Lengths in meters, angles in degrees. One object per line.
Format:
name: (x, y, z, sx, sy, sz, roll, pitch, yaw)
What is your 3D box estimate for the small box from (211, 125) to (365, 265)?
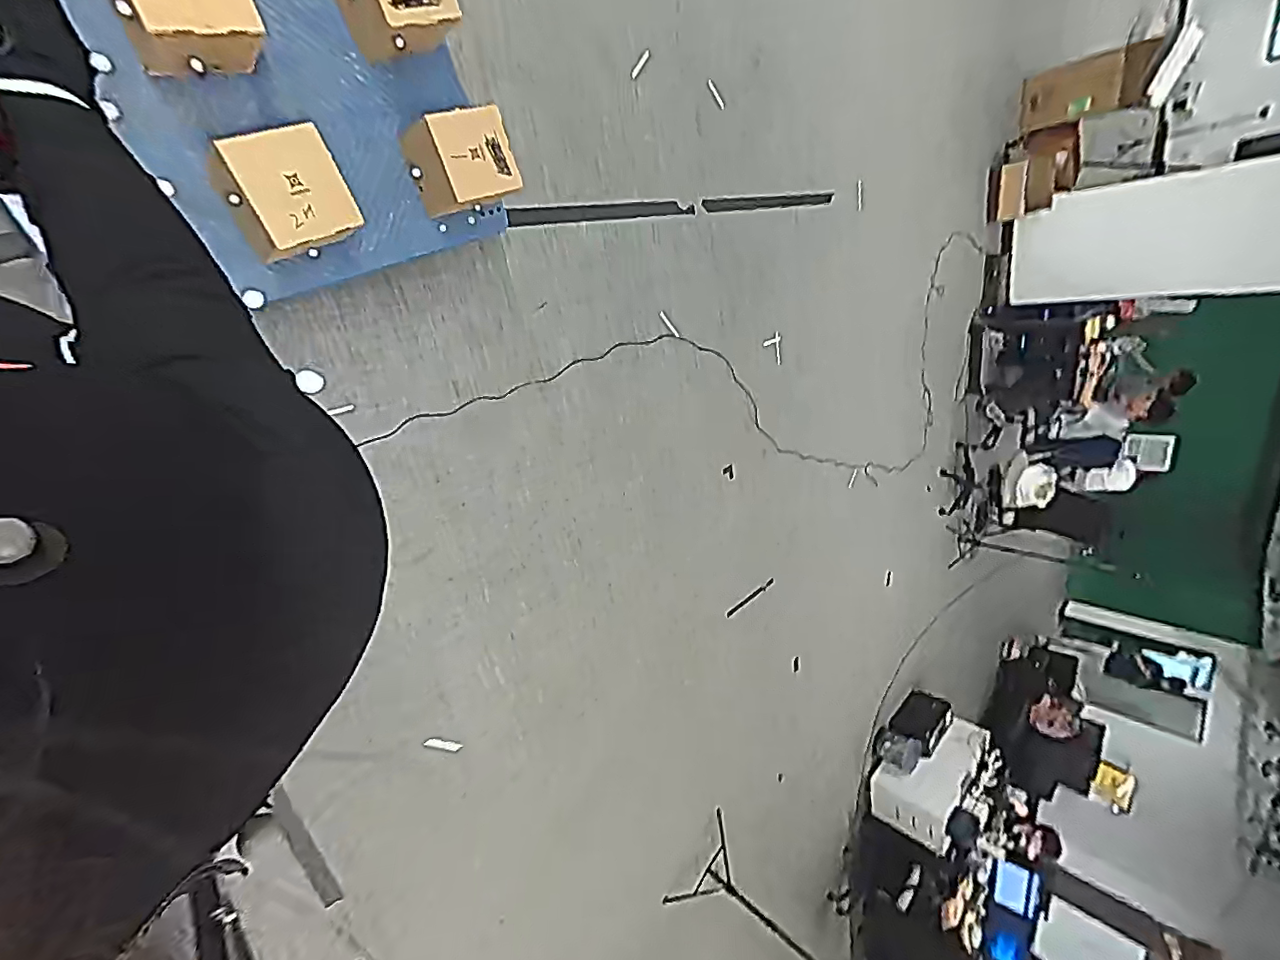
small box: (-0.661, -0.526, 1.013, 0.168, 0.176, 0.179, -39, 122, -31)

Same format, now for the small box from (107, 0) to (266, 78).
small box: (-0.754, -0.788, 0.876, 0.168, 0.176, 0.179, -35, 122, -34)

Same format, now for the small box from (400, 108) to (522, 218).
small box: (-0.404, -0.709, 1.218, 0.179, 0.176, 0.168, -35, 120, -32)
